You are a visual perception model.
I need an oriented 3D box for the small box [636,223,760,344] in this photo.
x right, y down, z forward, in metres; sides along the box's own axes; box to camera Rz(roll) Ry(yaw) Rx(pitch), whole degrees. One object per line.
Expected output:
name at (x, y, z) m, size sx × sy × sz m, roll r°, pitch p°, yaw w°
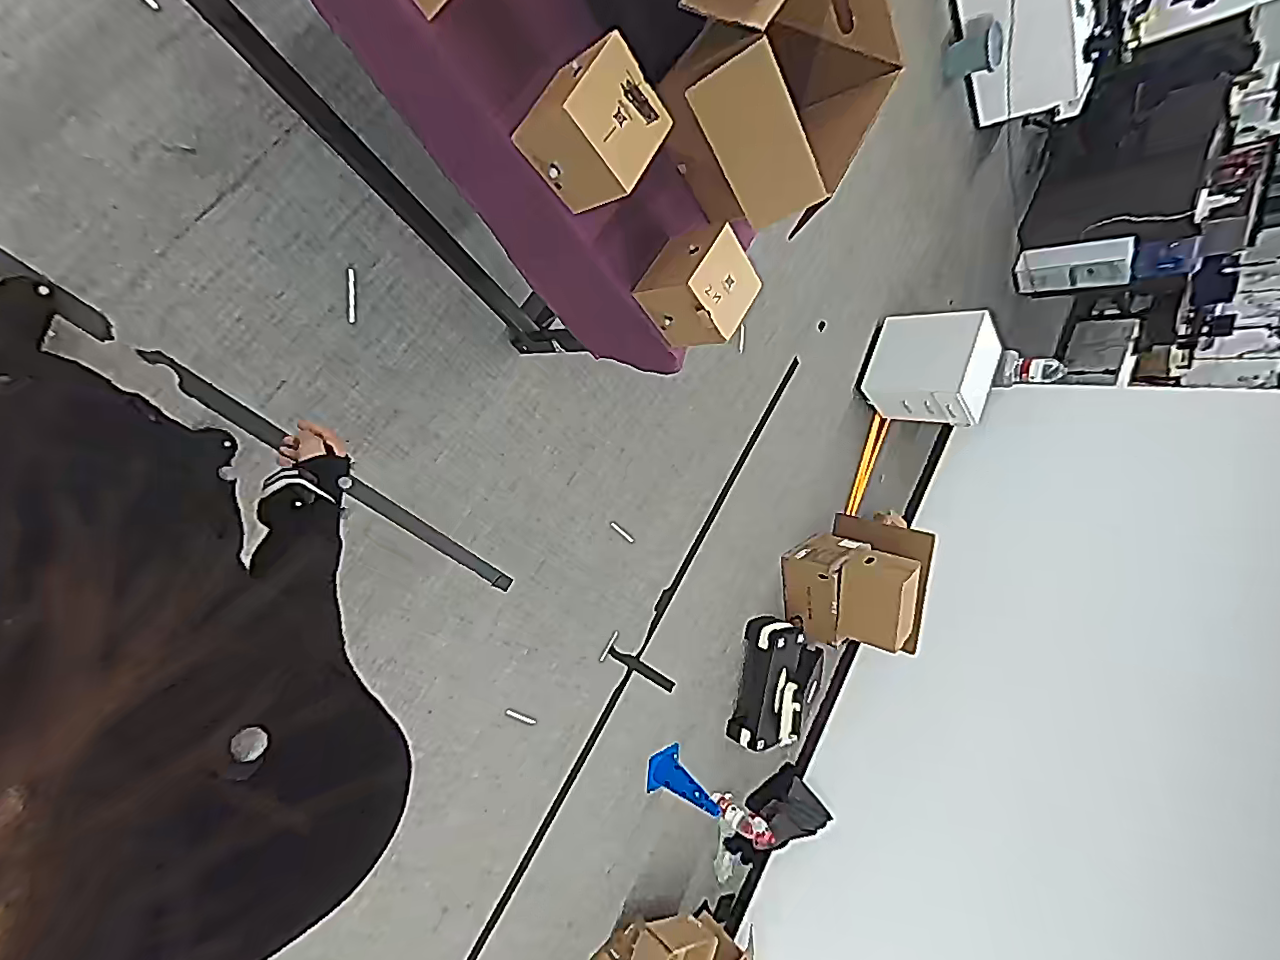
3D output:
small box at (0.121, -0.412, 1.162) m, size 0.168 × 0.176 × 0.179 m, roll 44°, pitch 69°, yaw -37°

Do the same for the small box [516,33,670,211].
small box at (-0.085, -0.605, 0.939) m, size 0.168 × 0.176 × 0.179 m, roll 39°, pitch 73°, yaw -39°
